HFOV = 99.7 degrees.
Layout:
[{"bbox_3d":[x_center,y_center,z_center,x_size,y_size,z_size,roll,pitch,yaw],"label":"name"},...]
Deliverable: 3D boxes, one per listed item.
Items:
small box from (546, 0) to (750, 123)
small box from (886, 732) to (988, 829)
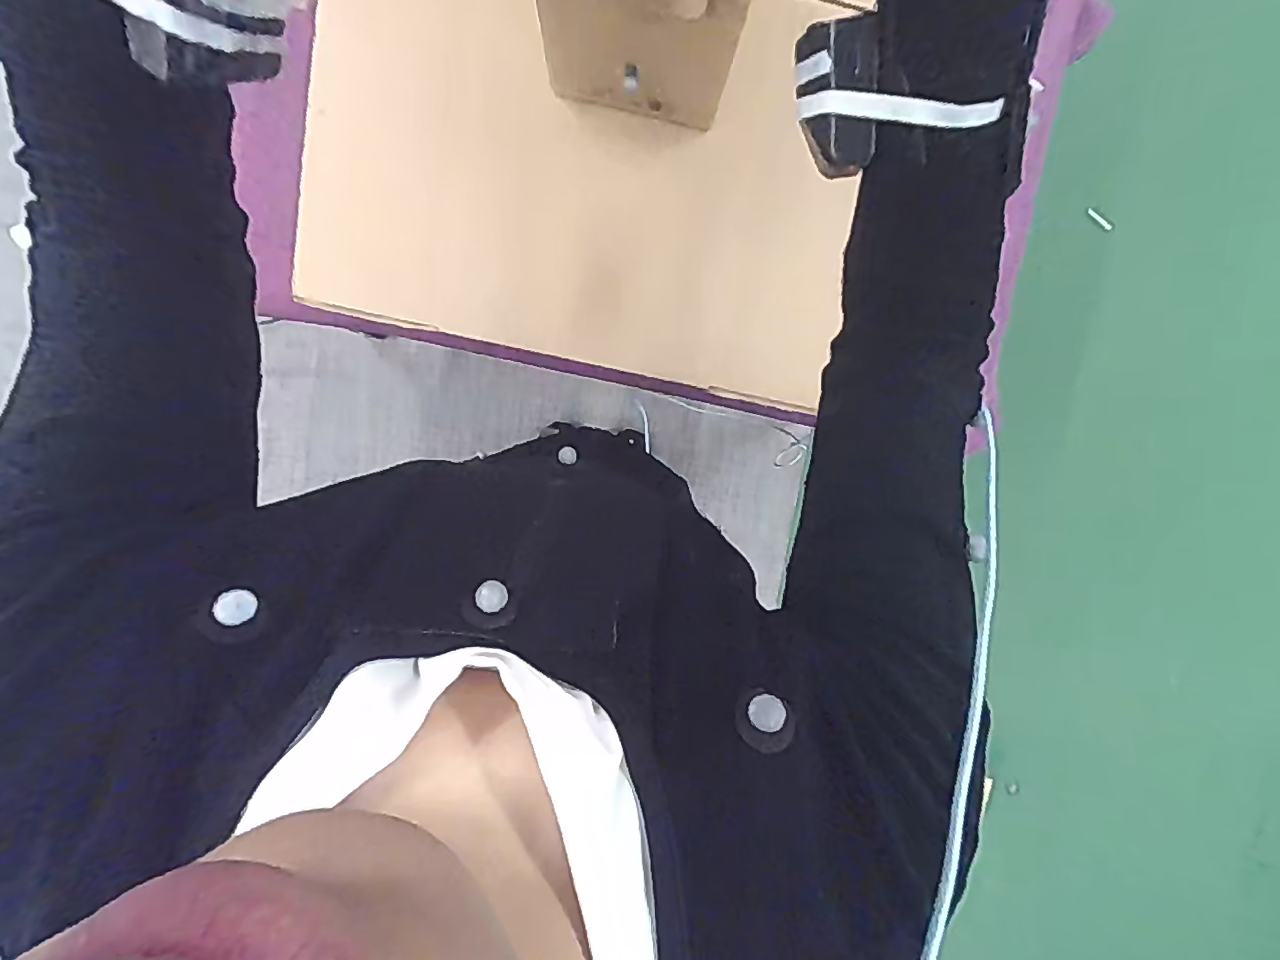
[{"bbox_3d":[0.014,-0.453,0.457,0.168,0.176,0.179,12,94,-3],"label":"small box"},{"bbox_3d":[0.836,0.848,1.541,0.179,0.176,0.168,12,96,-4],"label":"small box"}]
